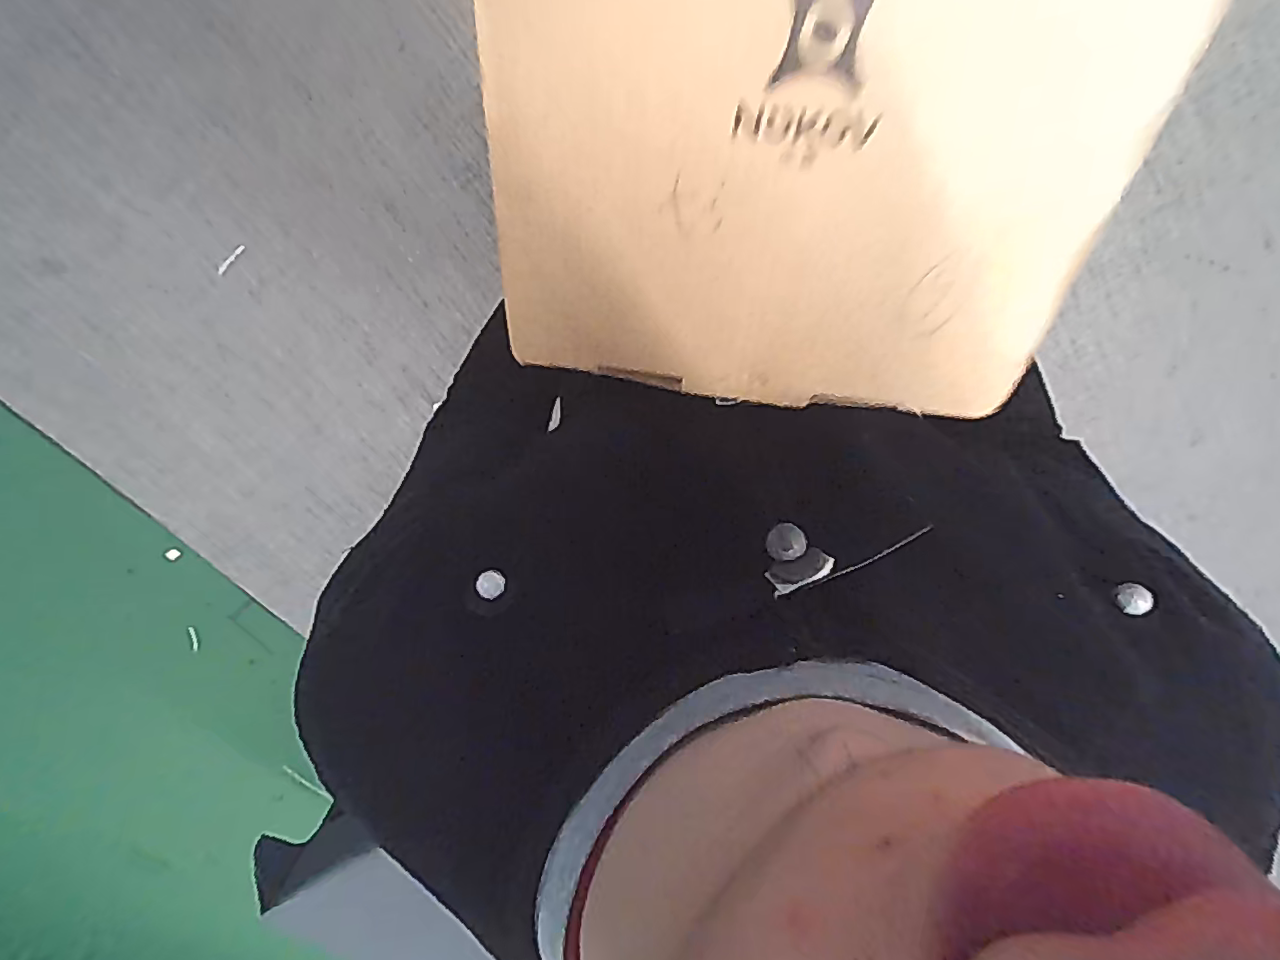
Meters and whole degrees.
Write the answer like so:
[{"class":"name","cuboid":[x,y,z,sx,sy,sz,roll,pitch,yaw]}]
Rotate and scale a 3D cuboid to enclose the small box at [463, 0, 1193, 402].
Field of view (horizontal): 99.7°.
[{"class":"small box","cuboid":[0.047,-0.154,0.194,0.168,0.176,0.179,7,132,2]}]
